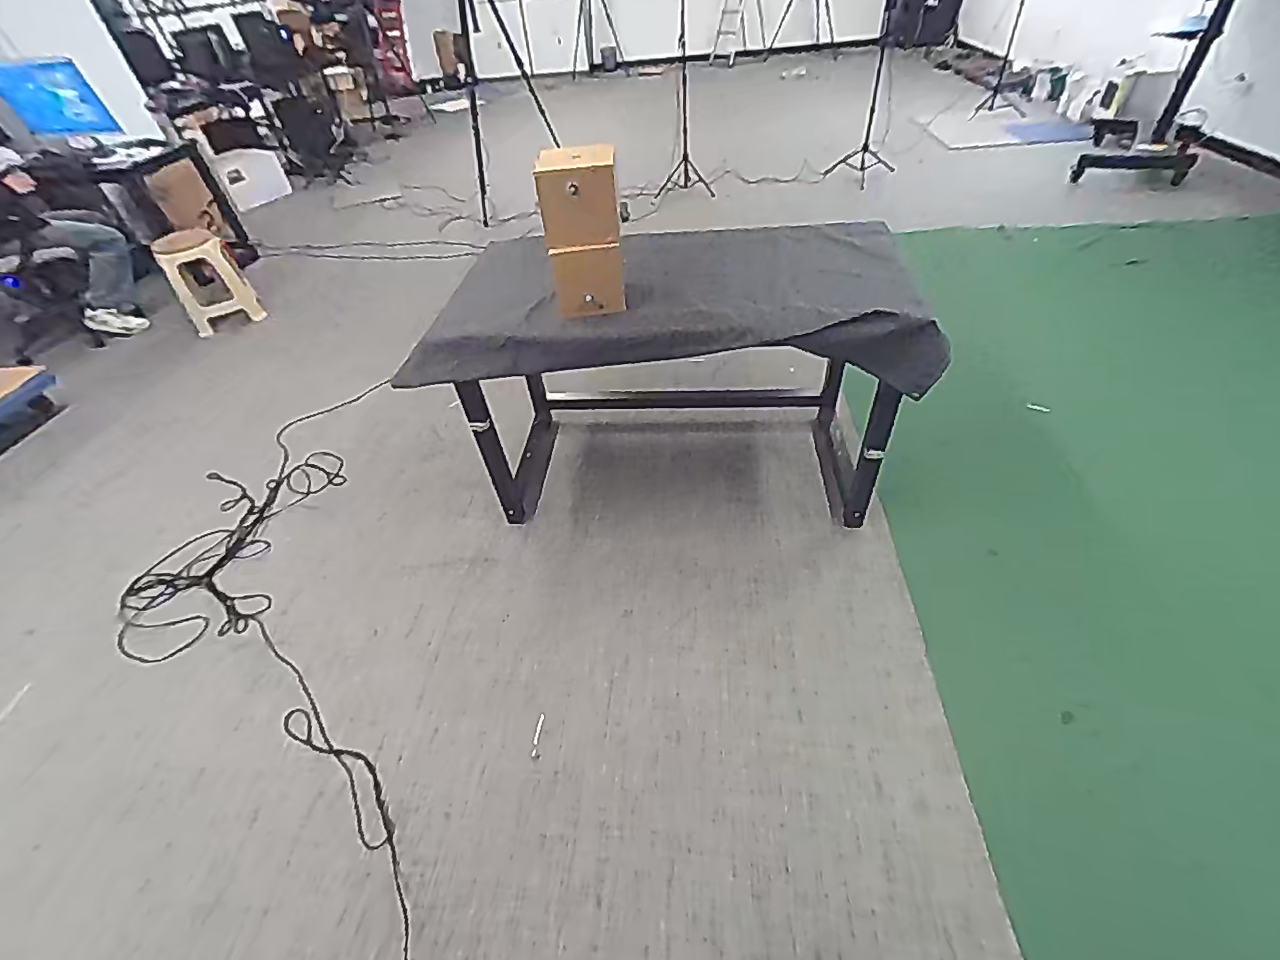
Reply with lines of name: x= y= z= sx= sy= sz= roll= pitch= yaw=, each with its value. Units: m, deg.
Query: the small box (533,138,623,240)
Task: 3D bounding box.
small box: x=-0.136 y=-0.666 z=1.247 sx=0.179 sy=0.176 sz=0.168 roll=-3 pitch=46 yaw=2

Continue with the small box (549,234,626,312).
small box: x=-0.128 y=-0.541 z=1.351 sx=0.168 sy=0.176 sz=0.179 roll=-7 pitch=45 yaw=0
